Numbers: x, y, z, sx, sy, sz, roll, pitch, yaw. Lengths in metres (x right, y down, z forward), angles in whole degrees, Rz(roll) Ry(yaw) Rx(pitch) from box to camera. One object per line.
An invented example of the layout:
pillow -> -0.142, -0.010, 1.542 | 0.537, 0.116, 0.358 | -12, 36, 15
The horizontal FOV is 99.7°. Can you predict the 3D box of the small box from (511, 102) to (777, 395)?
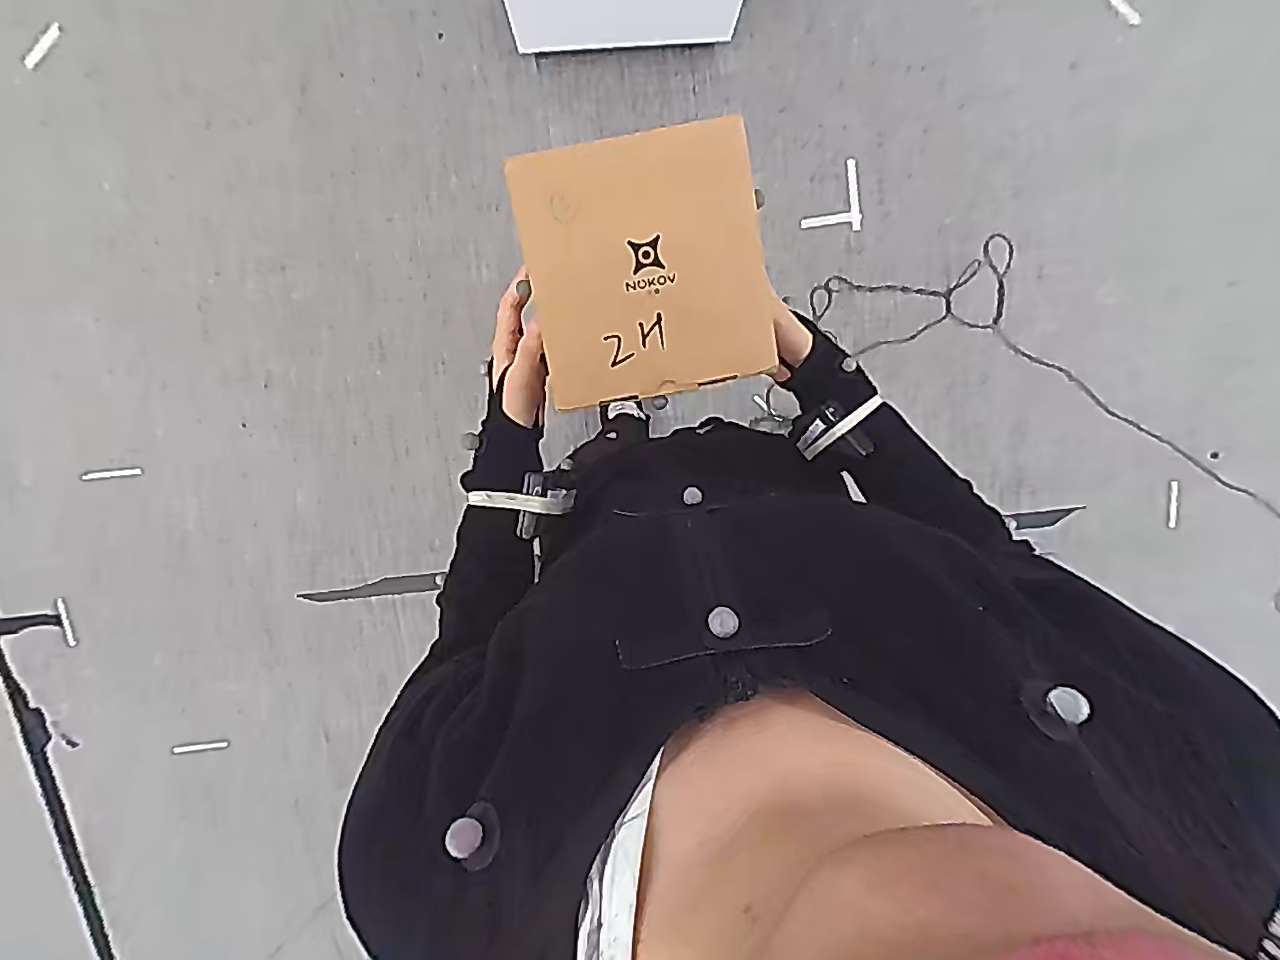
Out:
small box -> 0.003, -0.171, 0.456 | 0.168, 0.176, 0.179 | -11, 100, 0
